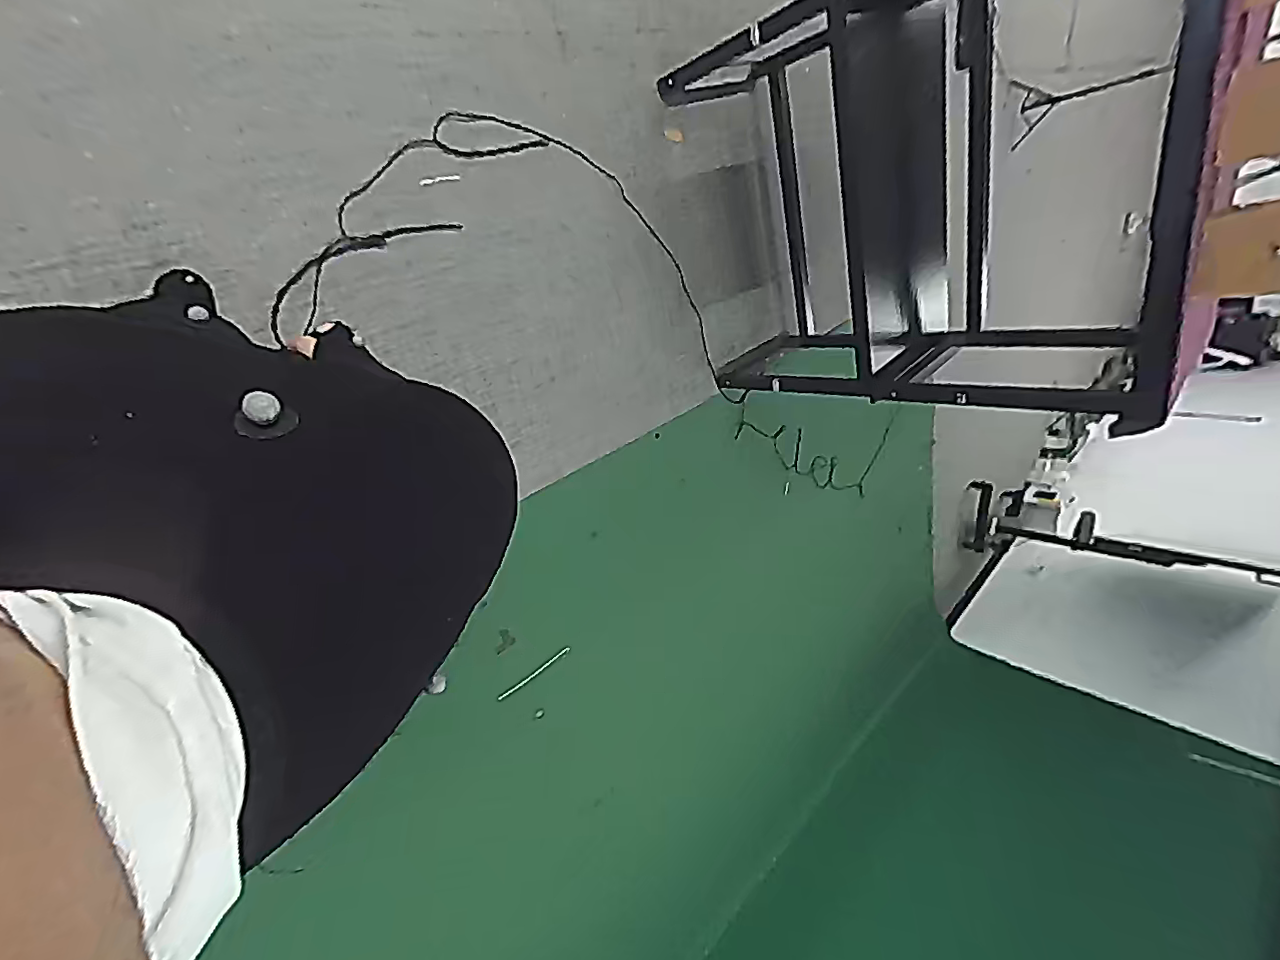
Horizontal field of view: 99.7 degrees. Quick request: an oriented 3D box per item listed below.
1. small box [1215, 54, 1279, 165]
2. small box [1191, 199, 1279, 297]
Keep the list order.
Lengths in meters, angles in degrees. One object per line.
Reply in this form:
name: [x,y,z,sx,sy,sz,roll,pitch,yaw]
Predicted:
small box: [1.290,-0.756,1.080,0.168,0.176,0.179,-32,120,-31]
small box: [1.363,-0.516,1.201,0.168,0.176,0.179,-33,119,-32]
